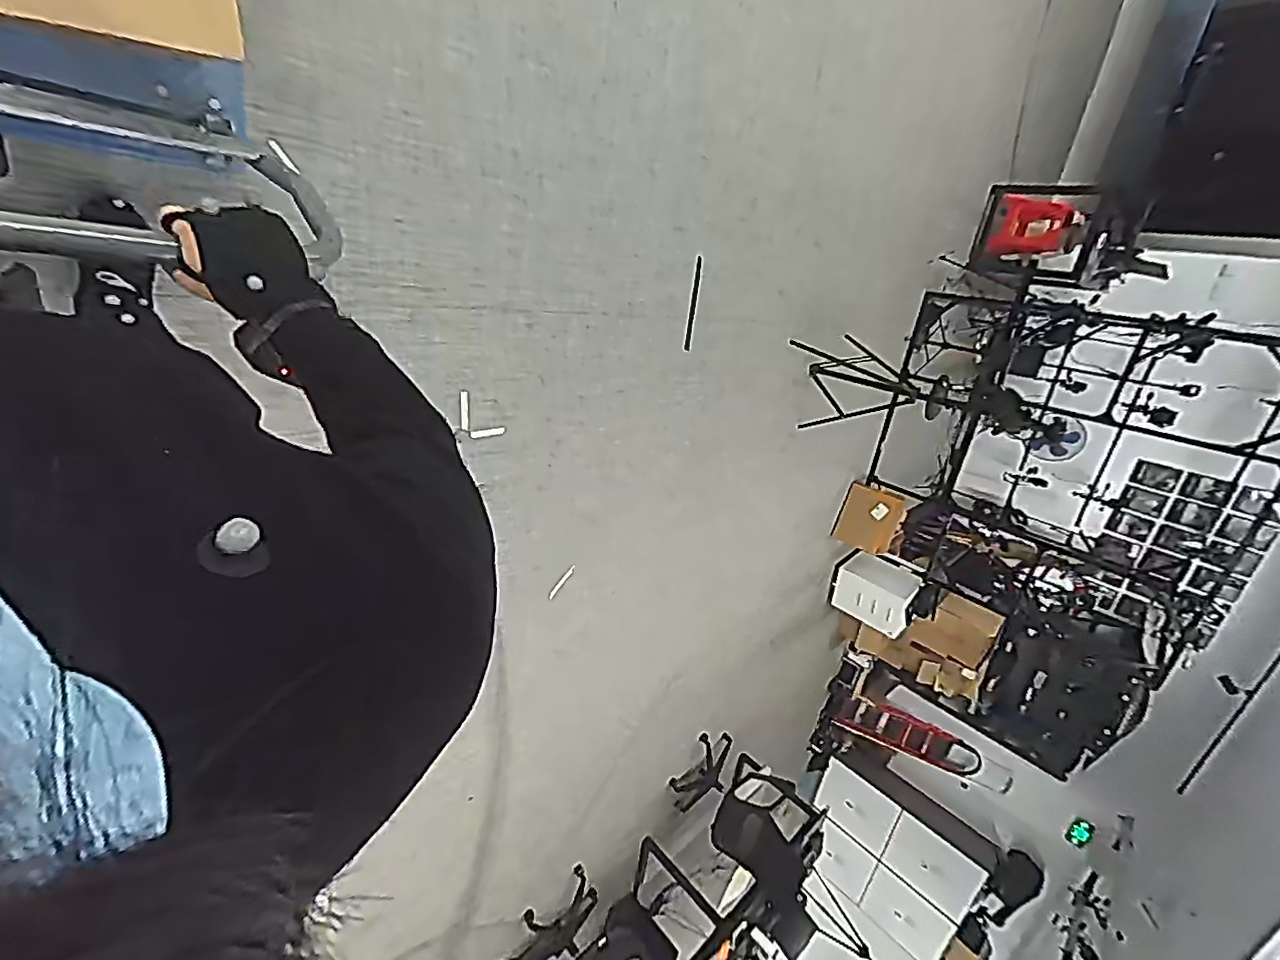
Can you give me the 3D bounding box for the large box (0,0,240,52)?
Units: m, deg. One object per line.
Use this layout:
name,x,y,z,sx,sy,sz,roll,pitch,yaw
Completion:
large box,-0.761,-0.720,0.611,0.408,0.320,0.320,-20,132,-40
